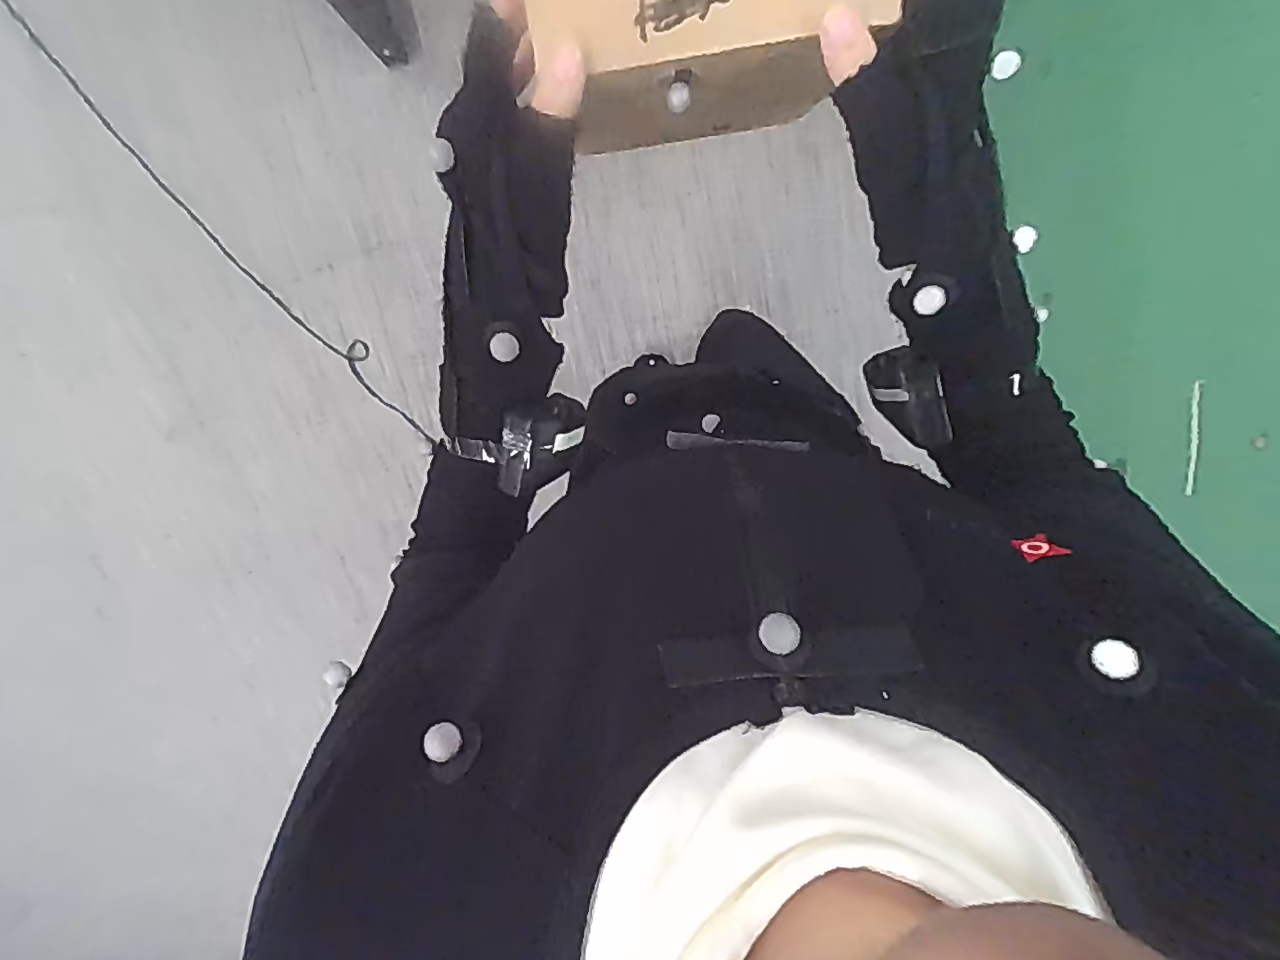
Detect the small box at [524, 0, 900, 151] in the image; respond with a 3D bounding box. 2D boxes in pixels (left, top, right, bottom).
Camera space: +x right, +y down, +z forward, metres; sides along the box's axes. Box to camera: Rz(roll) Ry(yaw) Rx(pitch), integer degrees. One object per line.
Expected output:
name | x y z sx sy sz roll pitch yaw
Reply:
small box | 0.022 -0.302 0.285 0.168 0.176 0.179 -8 110 3
